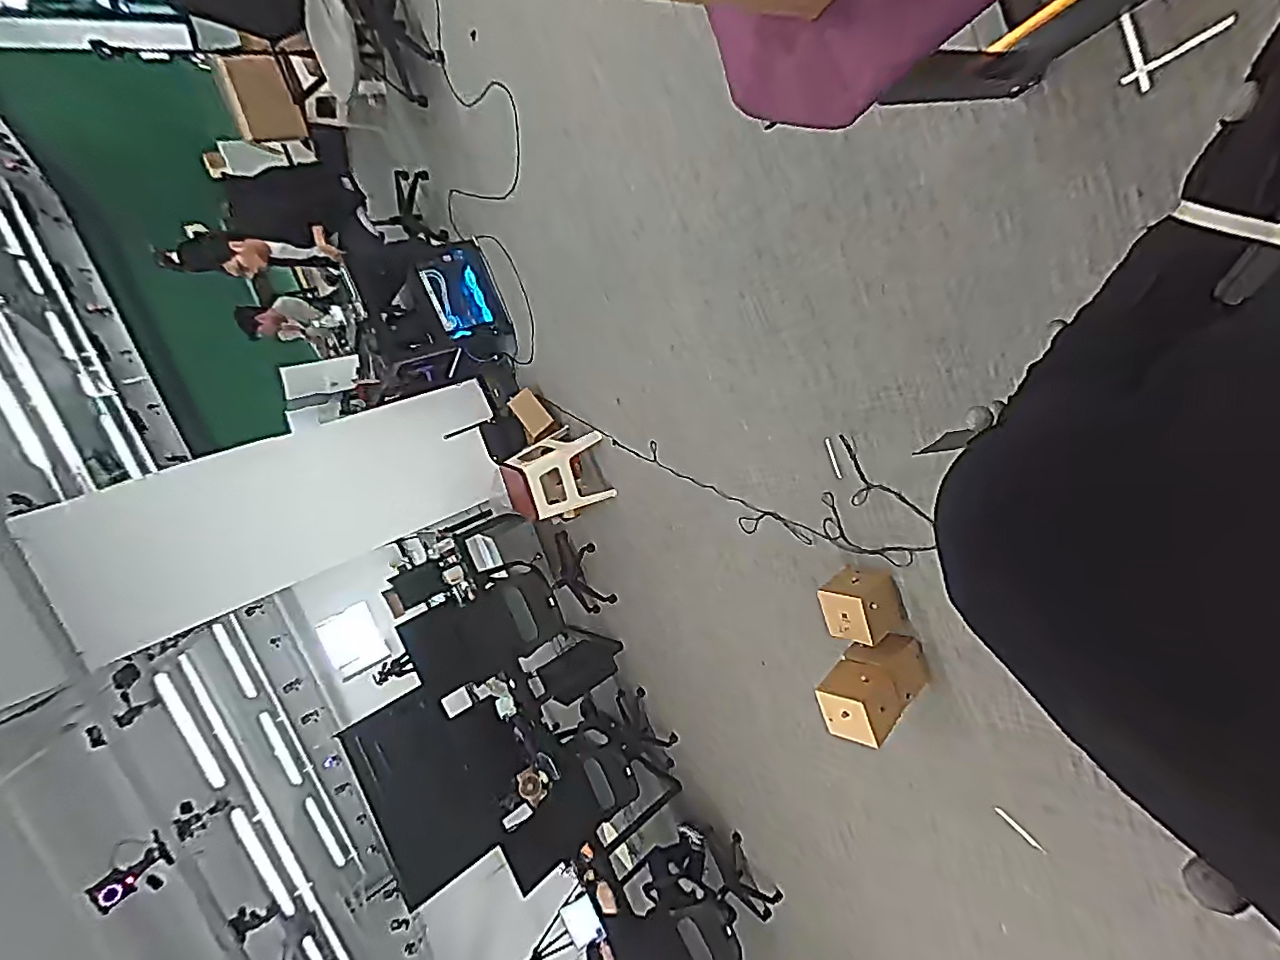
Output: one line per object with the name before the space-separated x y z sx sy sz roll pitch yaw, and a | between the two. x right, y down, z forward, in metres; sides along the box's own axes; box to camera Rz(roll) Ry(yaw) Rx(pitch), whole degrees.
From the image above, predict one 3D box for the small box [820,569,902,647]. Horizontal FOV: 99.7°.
small box | 0.722 0.408 1.760 0.168 0.176 0.179 0 114 57
